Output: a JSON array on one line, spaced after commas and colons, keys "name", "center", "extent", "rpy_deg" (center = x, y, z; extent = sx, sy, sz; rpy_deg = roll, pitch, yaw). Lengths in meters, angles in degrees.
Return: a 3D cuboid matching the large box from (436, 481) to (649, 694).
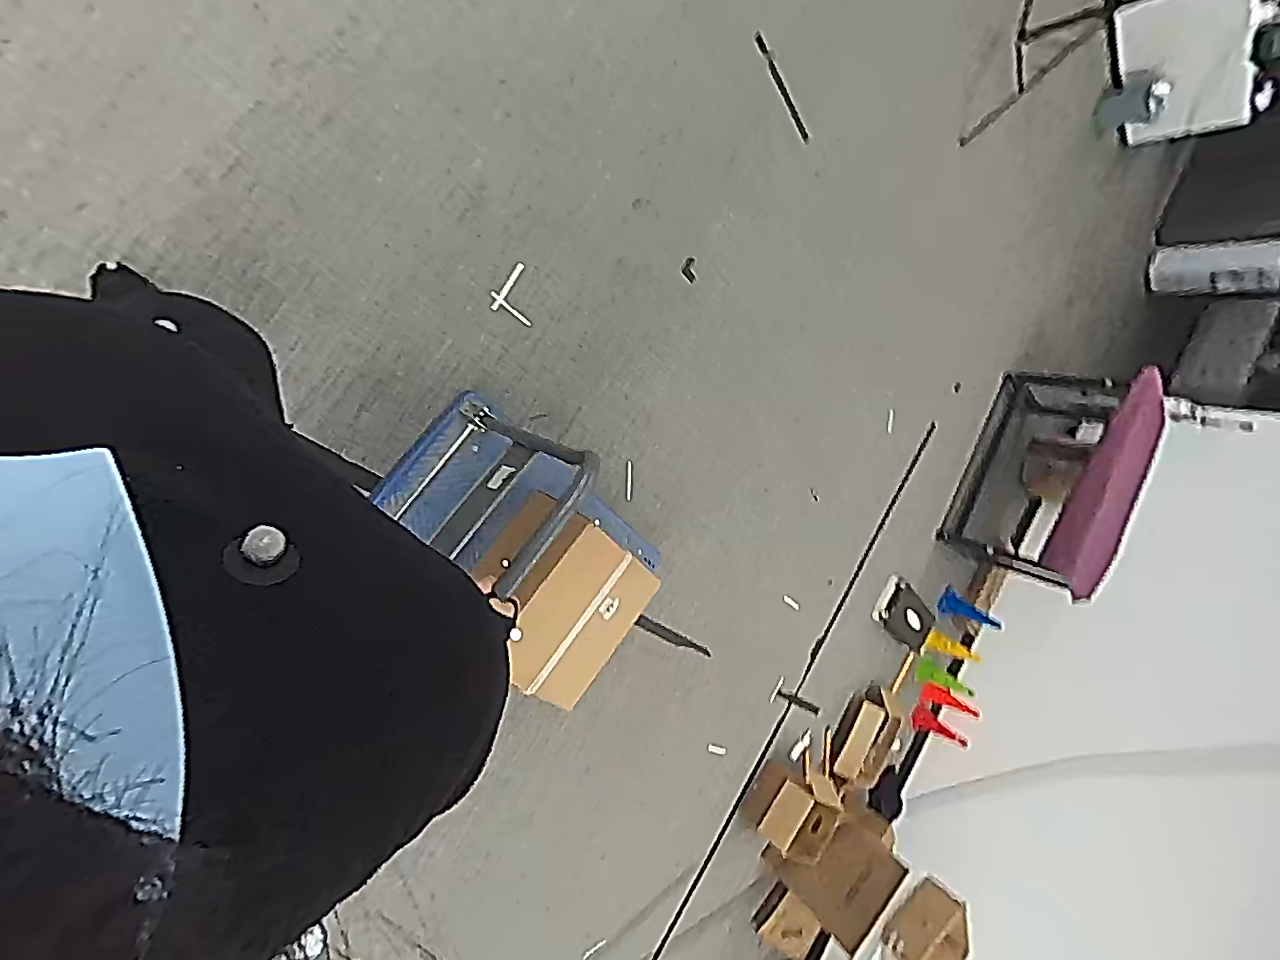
[{"name": "large box", "center": [-0.259, 0.271, 1.434], "extent": [0.408, 0.320, 0.320], "rpy_deg": [-54, 129, -12]}]
